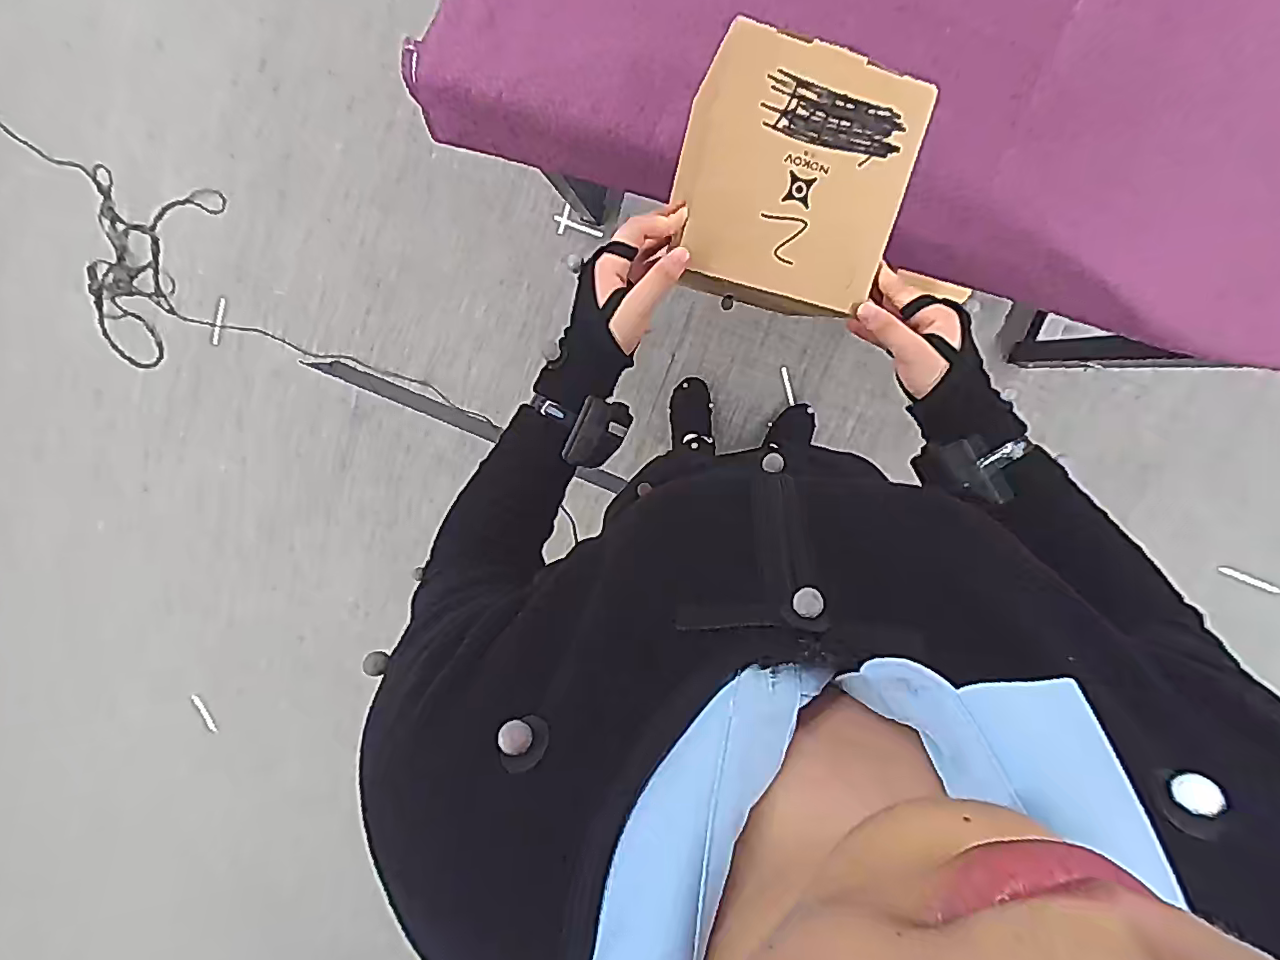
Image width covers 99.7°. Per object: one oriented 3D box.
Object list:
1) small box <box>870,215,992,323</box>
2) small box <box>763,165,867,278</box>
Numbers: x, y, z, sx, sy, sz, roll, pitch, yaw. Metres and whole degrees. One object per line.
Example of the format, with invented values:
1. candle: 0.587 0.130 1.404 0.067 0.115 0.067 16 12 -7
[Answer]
1. small box: 0.665 -0.481 1.265 0.168 0.176 0.179 24 102 1
2. small box: 0.398 -0.593 1.269 0.168 0.176 0.179 22 103 1
